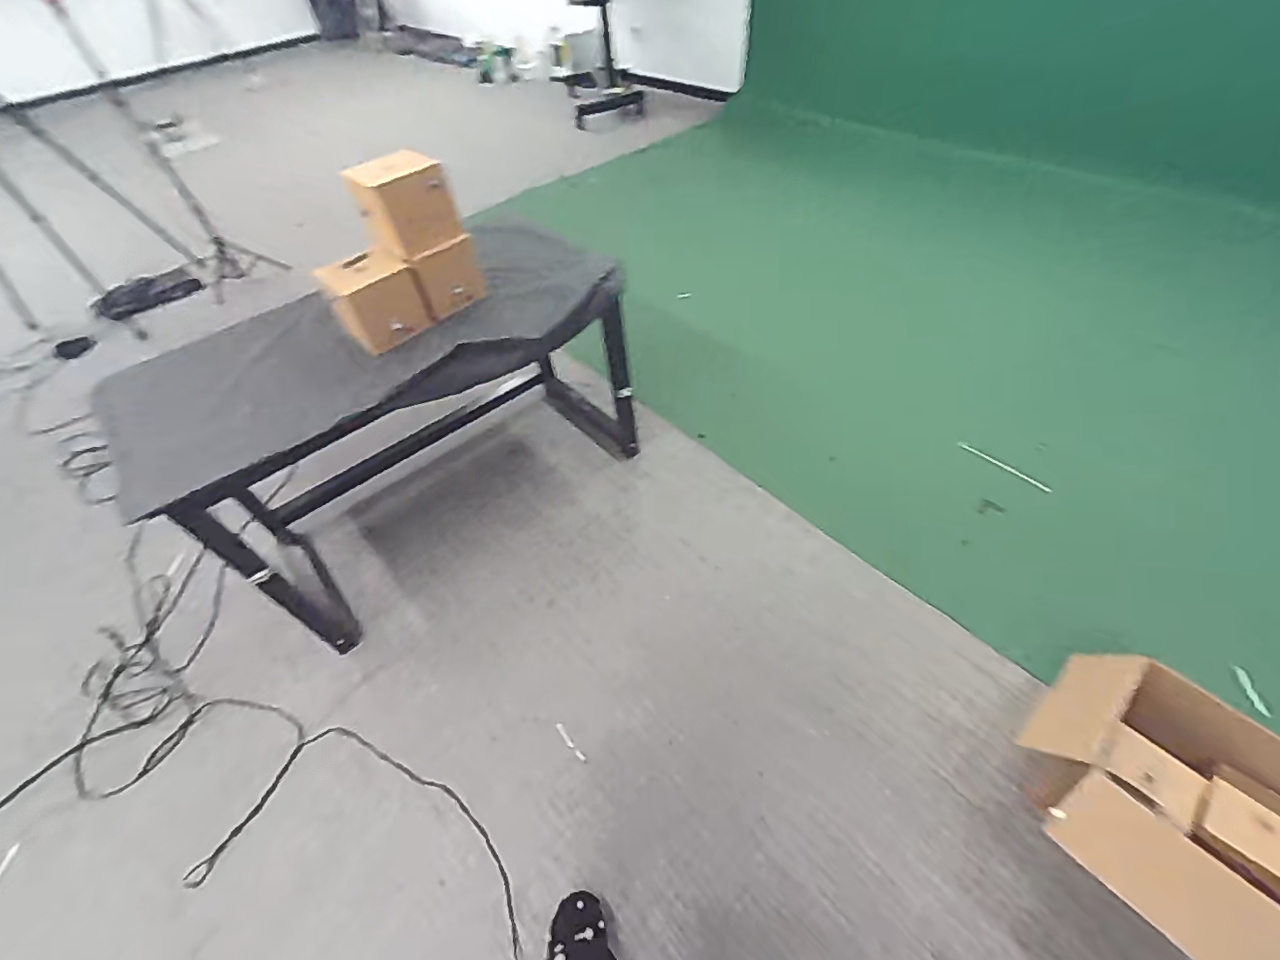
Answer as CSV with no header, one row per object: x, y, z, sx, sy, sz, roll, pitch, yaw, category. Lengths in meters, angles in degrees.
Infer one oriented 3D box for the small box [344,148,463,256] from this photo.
-0.557,-0.662,1.292,0.179,0.176,0.168,-39,56,-25,small box
